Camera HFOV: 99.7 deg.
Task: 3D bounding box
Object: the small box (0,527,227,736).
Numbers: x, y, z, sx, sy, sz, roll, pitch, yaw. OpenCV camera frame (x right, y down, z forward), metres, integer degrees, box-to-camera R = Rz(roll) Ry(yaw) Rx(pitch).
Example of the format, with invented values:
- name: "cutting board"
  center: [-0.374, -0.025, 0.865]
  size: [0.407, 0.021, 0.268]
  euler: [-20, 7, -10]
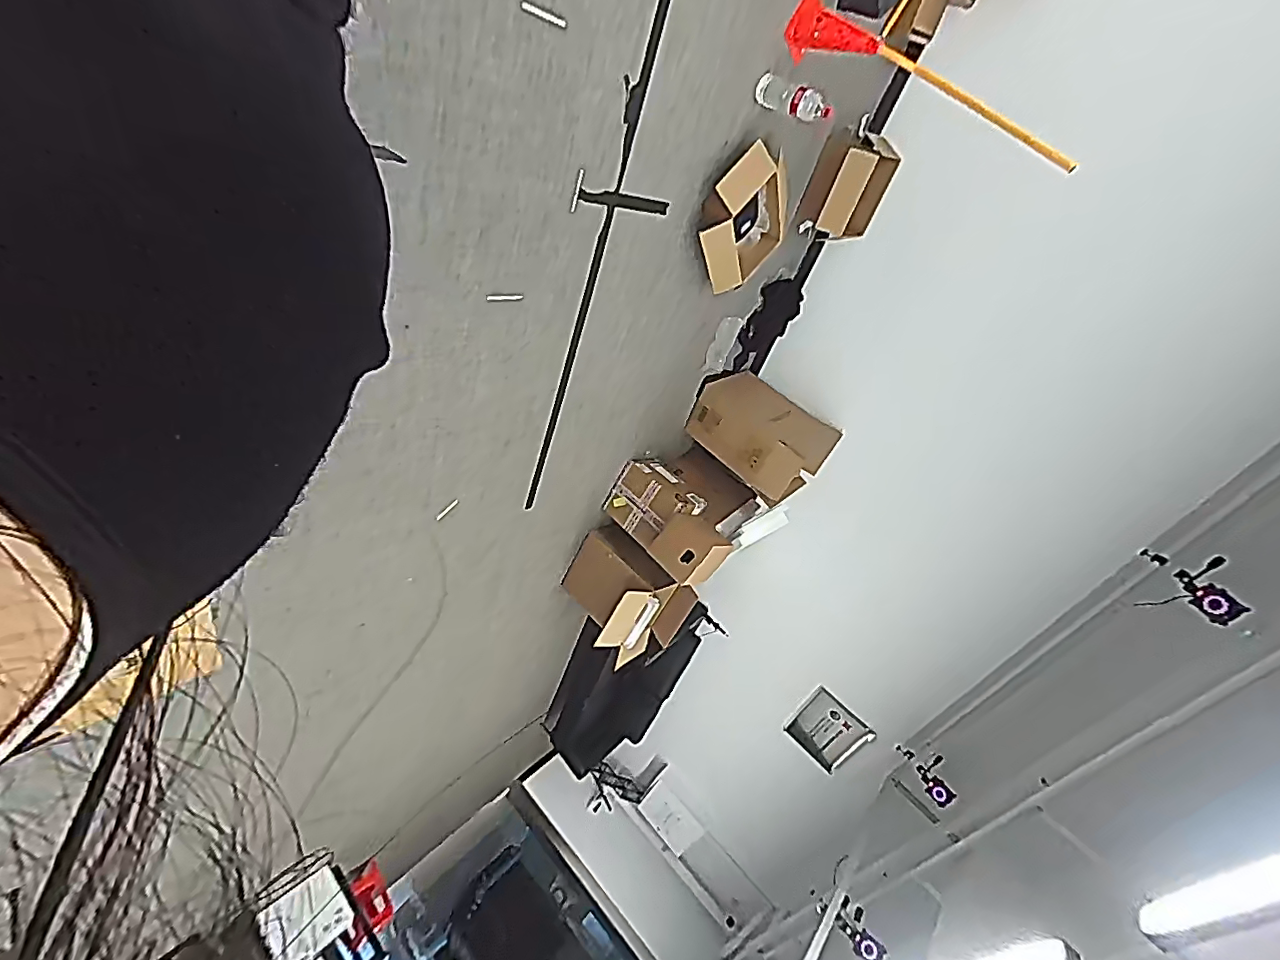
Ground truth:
- name: "small box"
  center: [-0.680, 0.183, 0.709]
  size: [0.168, 0.176, 0.179]
  euler: [-23, 146, -46]
